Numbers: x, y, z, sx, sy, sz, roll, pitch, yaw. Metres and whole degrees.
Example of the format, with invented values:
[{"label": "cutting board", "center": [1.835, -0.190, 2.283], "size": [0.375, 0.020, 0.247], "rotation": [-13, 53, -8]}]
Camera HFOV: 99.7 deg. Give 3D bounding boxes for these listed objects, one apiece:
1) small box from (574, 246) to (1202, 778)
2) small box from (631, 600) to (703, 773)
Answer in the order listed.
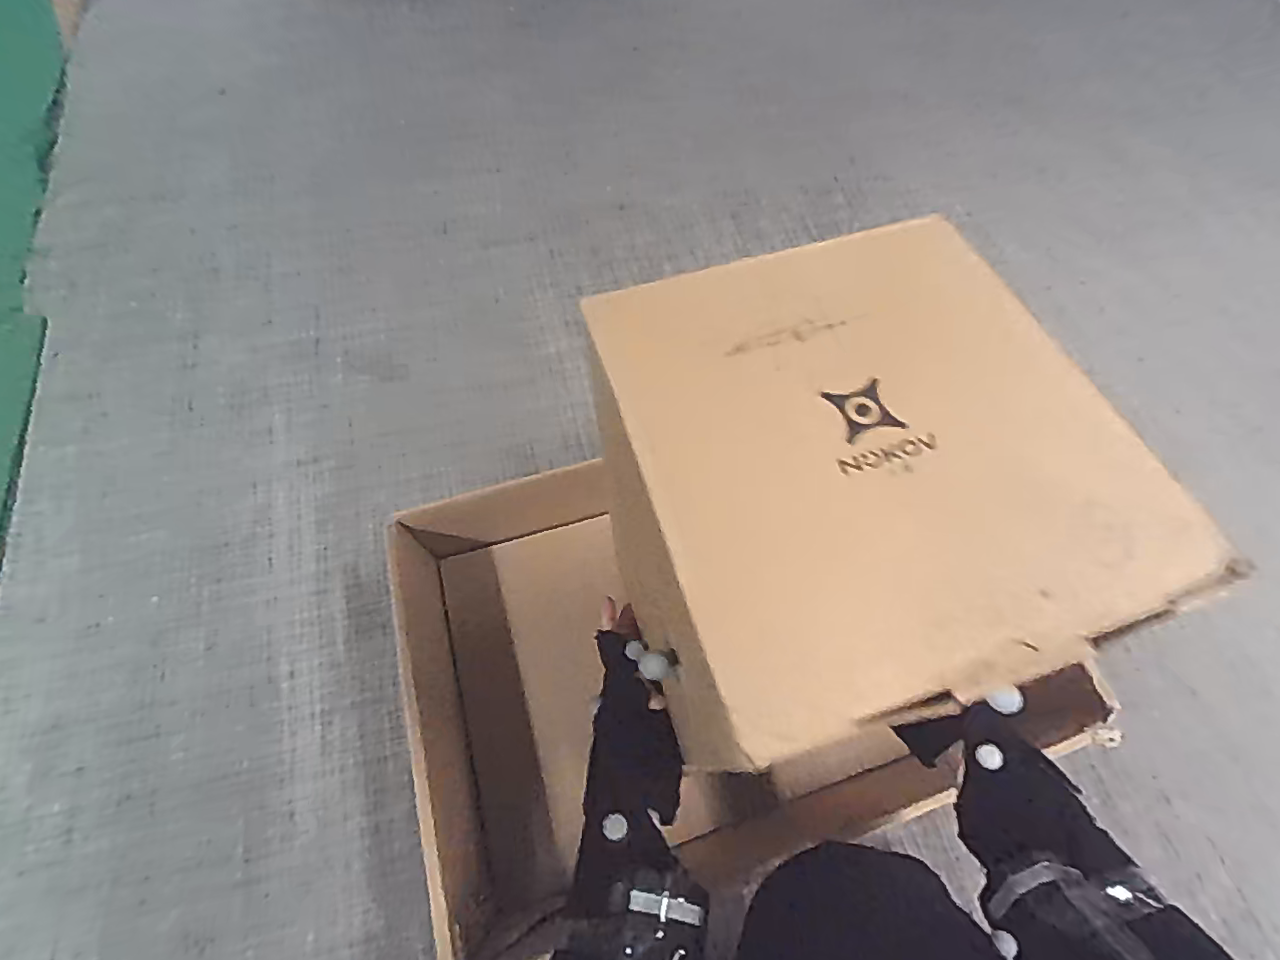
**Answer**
[{"label": "small box", "center": [0.076, 0.026, 0.267], "size": [0.168, 0.176, 0.179], "rotation": [-16, 62, -8]}, {"label": "small box", "center": [0.094, 0.192, 0.566], "size": [0.179, 0.176, 0.168], "rotation": [-14, 62, -5]}]
